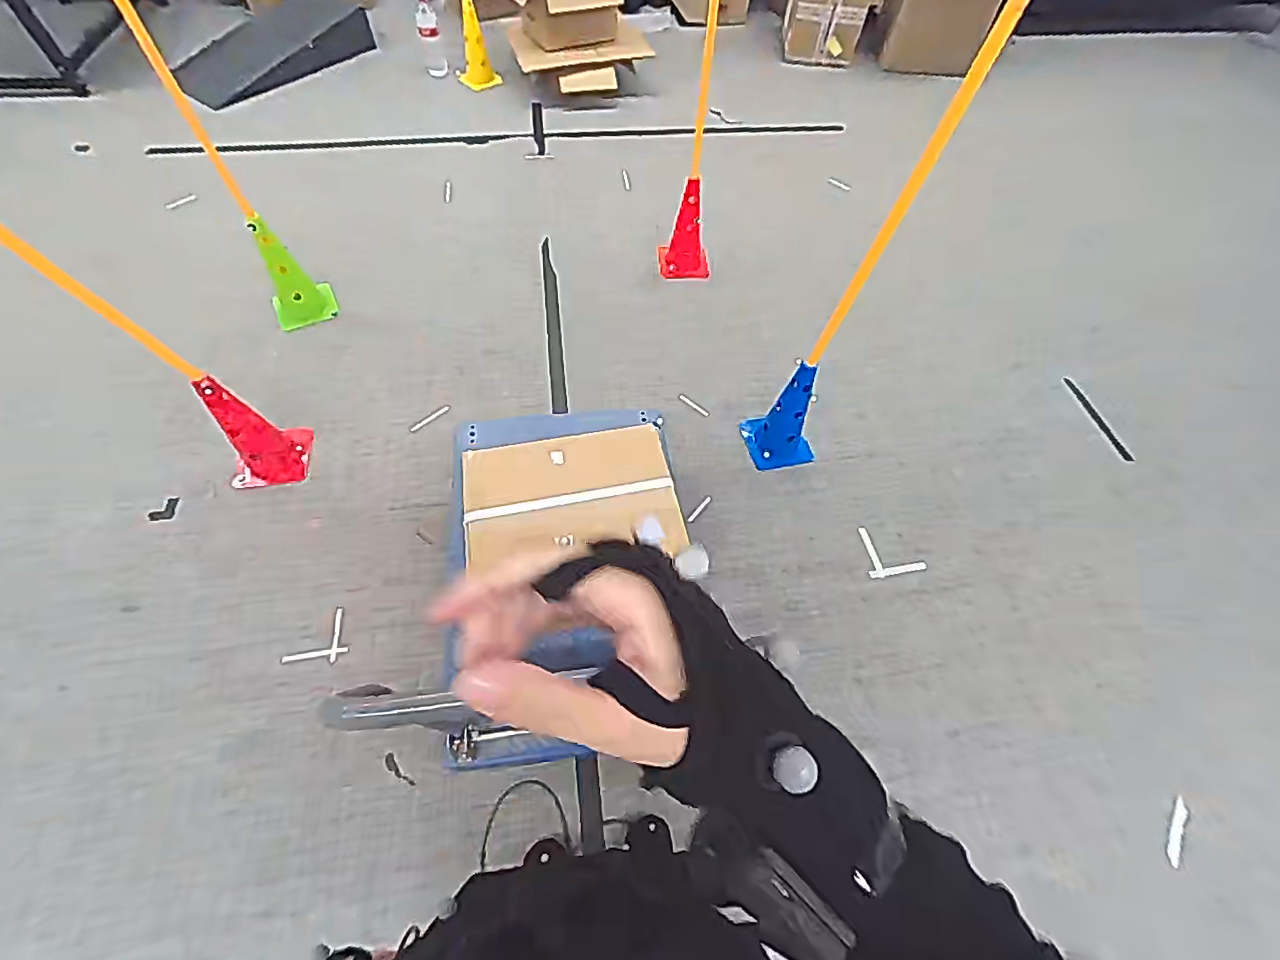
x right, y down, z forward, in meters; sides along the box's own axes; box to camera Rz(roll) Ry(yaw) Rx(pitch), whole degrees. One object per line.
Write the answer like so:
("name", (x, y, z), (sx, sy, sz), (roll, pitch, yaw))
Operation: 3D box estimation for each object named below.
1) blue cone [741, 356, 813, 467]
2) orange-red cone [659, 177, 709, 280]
("blue cone", (0.448, -0.215, 1.620), (0.193, 0.380, 0.192), (-9, 58, -9))
("orange-red cone", (0.187, -0.970, 2.058), (0.199, 0.360, 0.198), (0, 59, -4))
